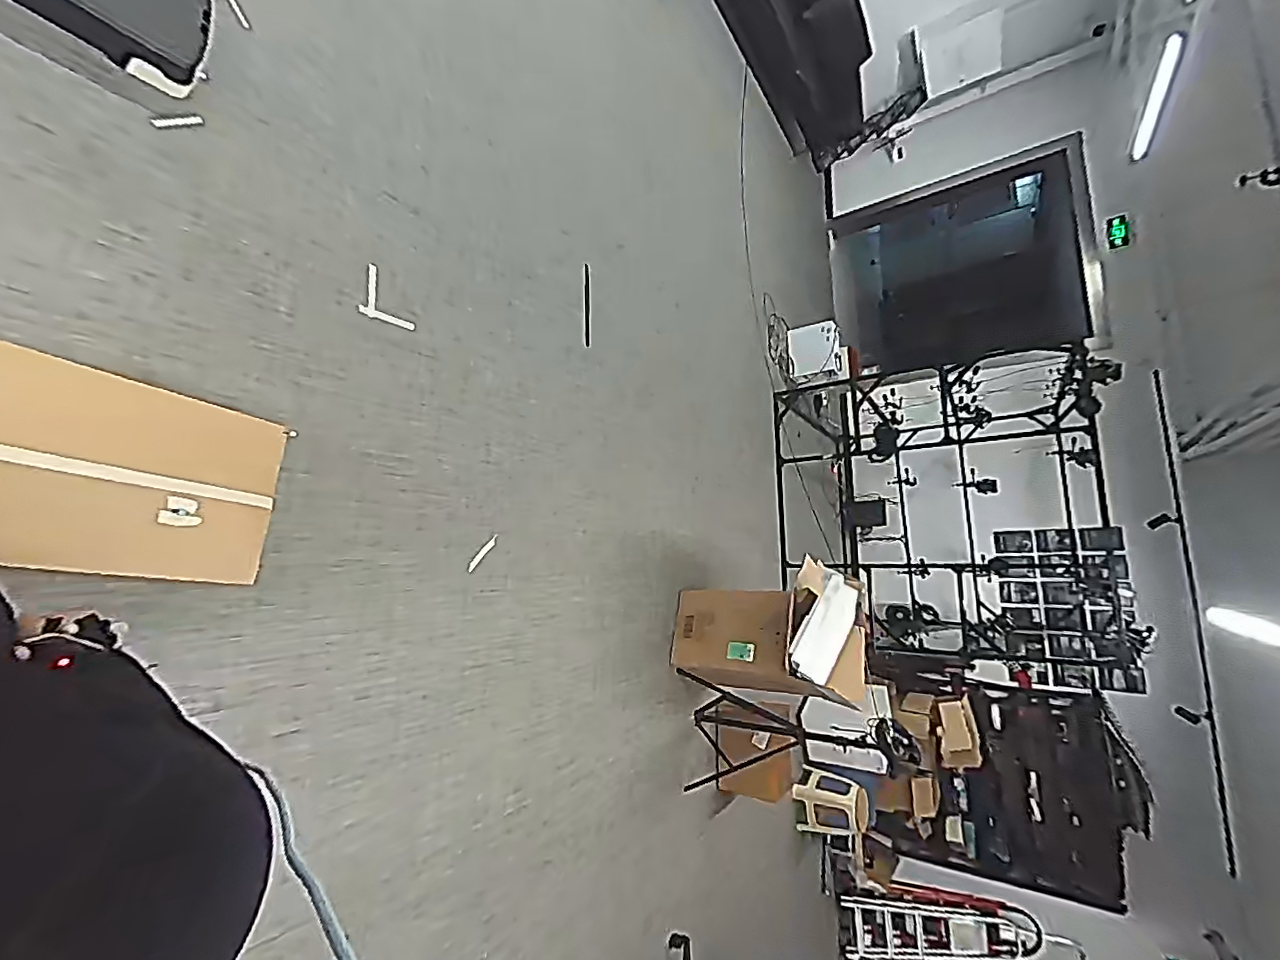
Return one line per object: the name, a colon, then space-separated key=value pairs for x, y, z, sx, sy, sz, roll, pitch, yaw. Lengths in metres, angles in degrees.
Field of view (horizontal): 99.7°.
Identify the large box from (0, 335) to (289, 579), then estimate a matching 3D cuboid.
large box: x=-0.925 y=0.002 z=0.939 sx=0.408 sy=0.320 sz=0.320 roll=25 pitch=65 yaw=-55
